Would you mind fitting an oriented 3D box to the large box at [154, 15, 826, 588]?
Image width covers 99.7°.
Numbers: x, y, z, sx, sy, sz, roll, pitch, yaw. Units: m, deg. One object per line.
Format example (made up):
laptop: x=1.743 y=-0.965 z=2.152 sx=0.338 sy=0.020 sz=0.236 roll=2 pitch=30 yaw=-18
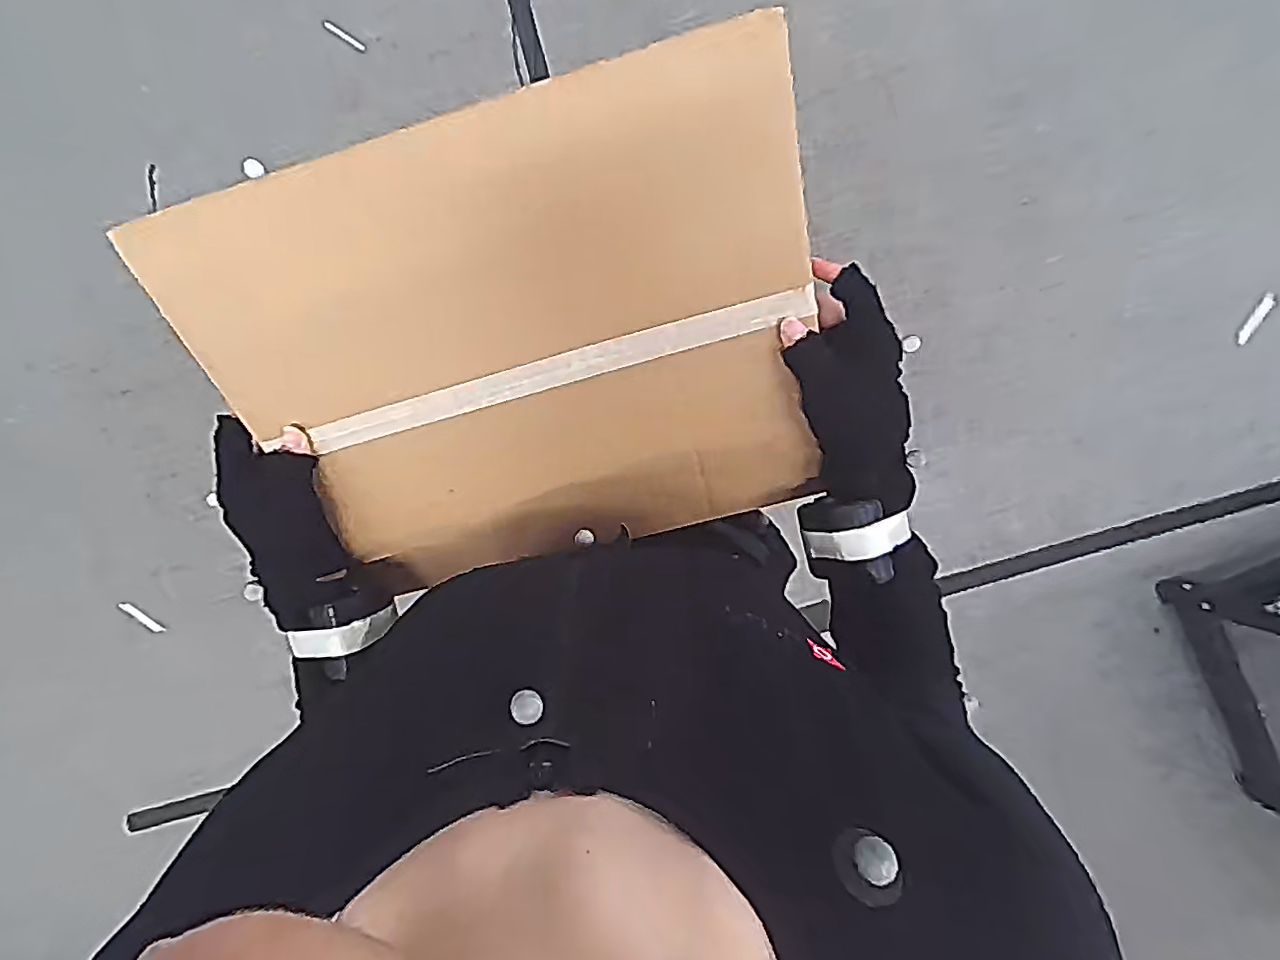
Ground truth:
large box: x=-0.084 y=-0.152 z=0.517 sx=0.408 sy=0.320 sz=0.320 roll=-15 pitch=122 yaw=6
